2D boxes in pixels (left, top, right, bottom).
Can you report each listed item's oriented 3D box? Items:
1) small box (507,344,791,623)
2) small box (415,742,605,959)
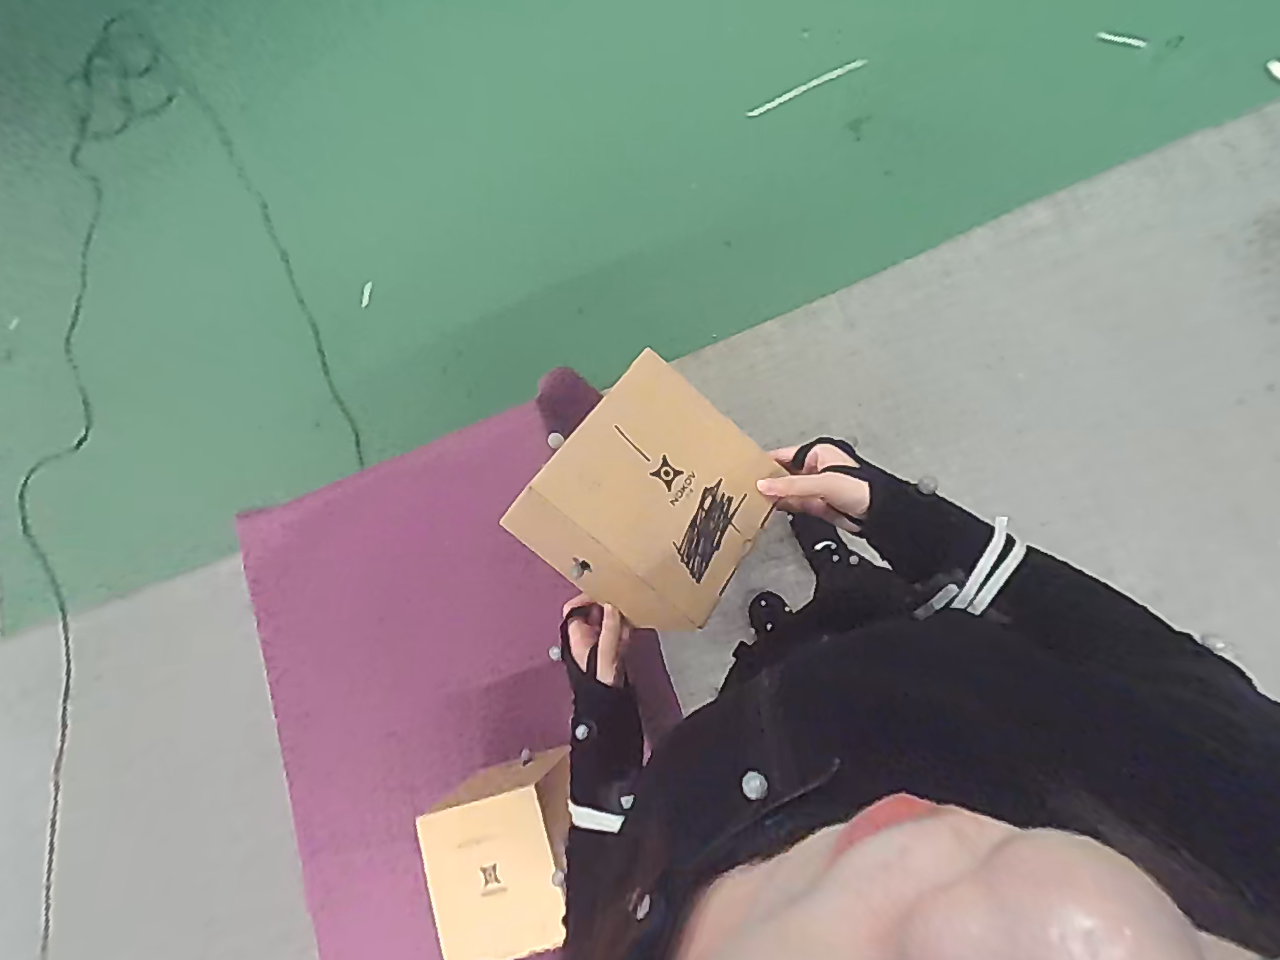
[{"bbox_3d":[-0.002,0.014,0.511,0.179,0.176,0.168,42,66,-6],"label":"small box"},{"bbox_3d":[-0.160,0.478,0.714,0.168,0.176,0.179,-19,78,9],"label":"small box"}]
